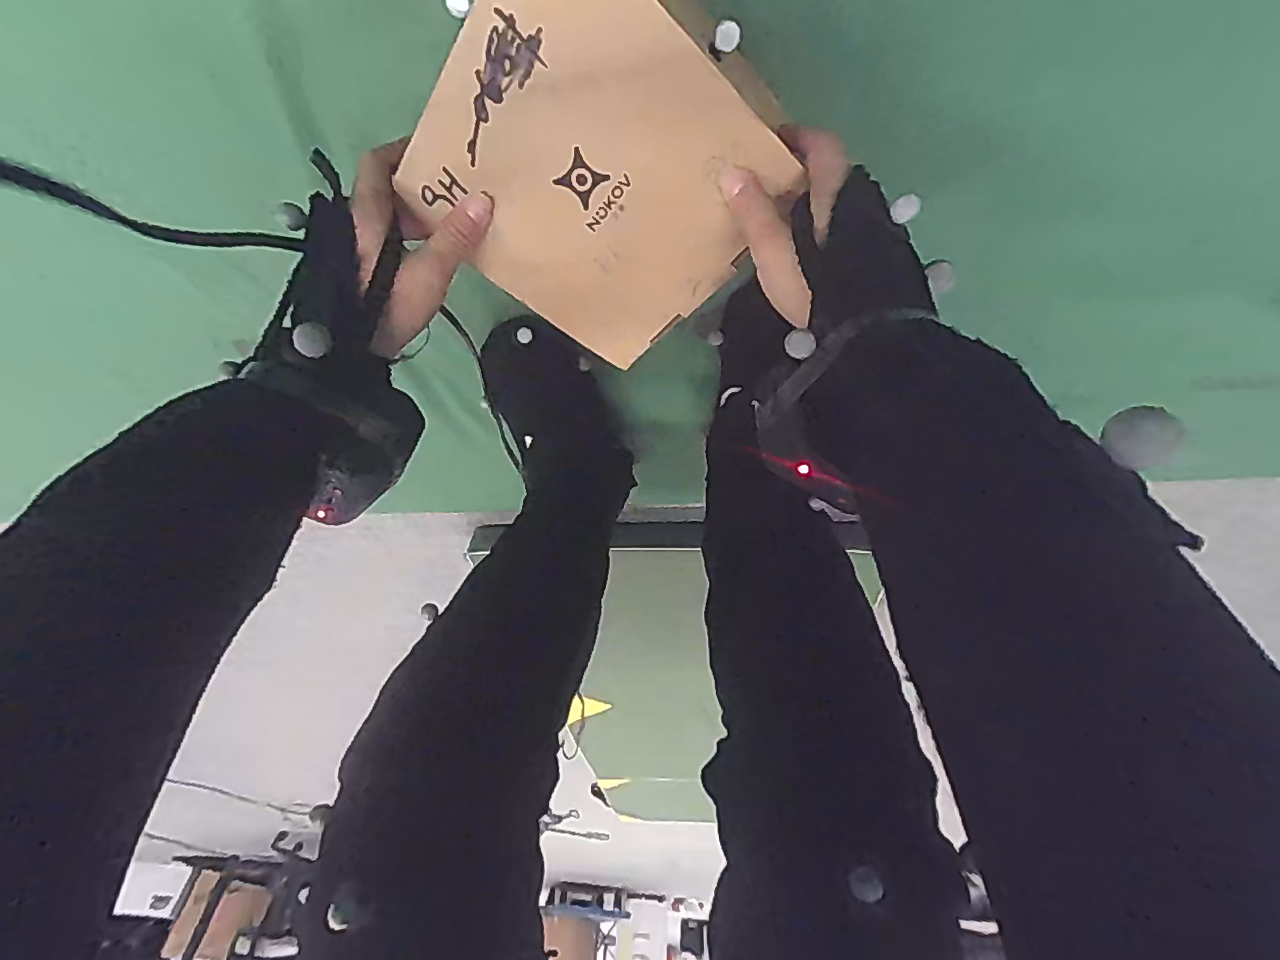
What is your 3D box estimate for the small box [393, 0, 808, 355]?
[{"bbox_3d":[-0.020,-0.225,0.351,0.179,0.176,0.168,31,132,-28],"label":"small box"}]
